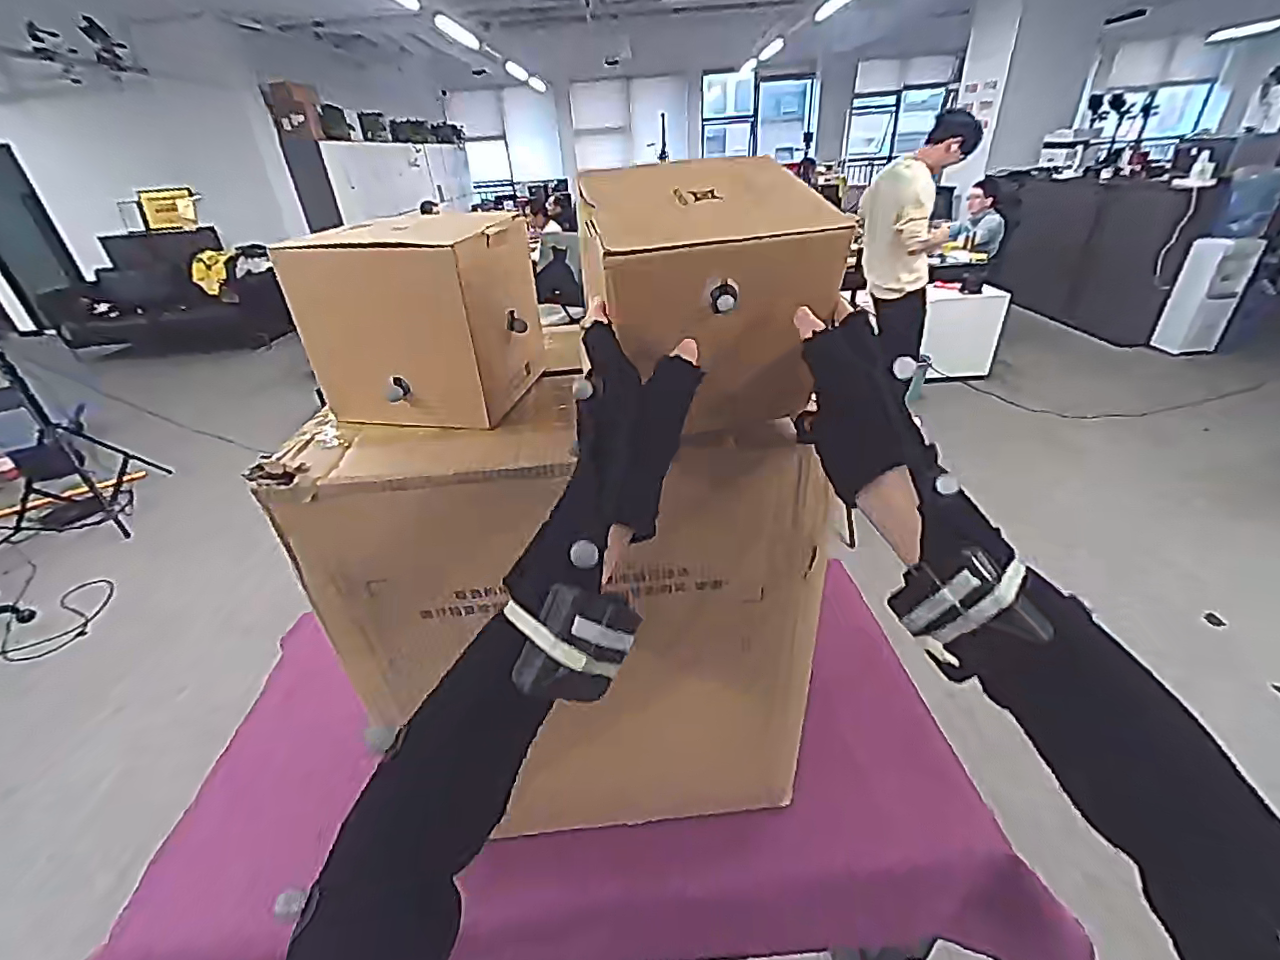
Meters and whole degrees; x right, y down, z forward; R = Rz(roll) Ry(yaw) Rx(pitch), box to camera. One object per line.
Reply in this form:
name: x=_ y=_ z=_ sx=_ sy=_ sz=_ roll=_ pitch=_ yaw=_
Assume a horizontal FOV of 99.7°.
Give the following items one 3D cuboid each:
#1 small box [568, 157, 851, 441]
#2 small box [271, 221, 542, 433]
small box: x=0.043 y=-0.150 z=0.458 sx=0.179 sy=0.176 sz=0.168 roll=-9 pitch=48 yaw=-8
small box: x=-0.213 y=-0.159 z=0.554 sx=0.179 sy=0.176 sz=0.168 roll=4 pitch=34 yaw=10
